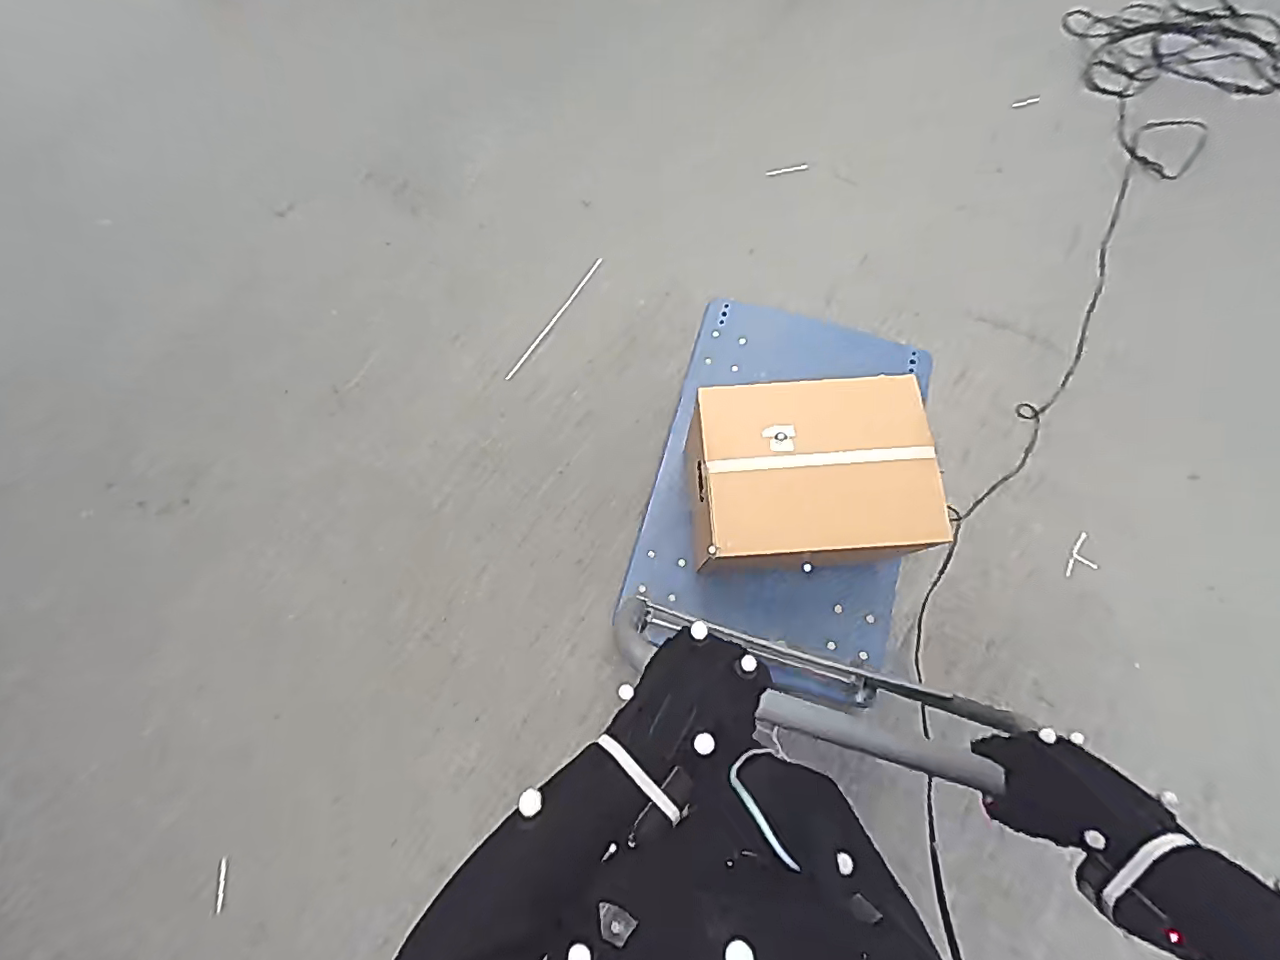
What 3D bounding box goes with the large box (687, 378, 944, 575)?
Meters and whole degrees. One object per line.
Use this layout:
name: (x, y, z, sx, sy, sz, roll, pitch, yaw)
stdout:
large box: (0.318, 0.013, 1.108, 0.408, 0.320, 0.320, -4, 73, 0)
